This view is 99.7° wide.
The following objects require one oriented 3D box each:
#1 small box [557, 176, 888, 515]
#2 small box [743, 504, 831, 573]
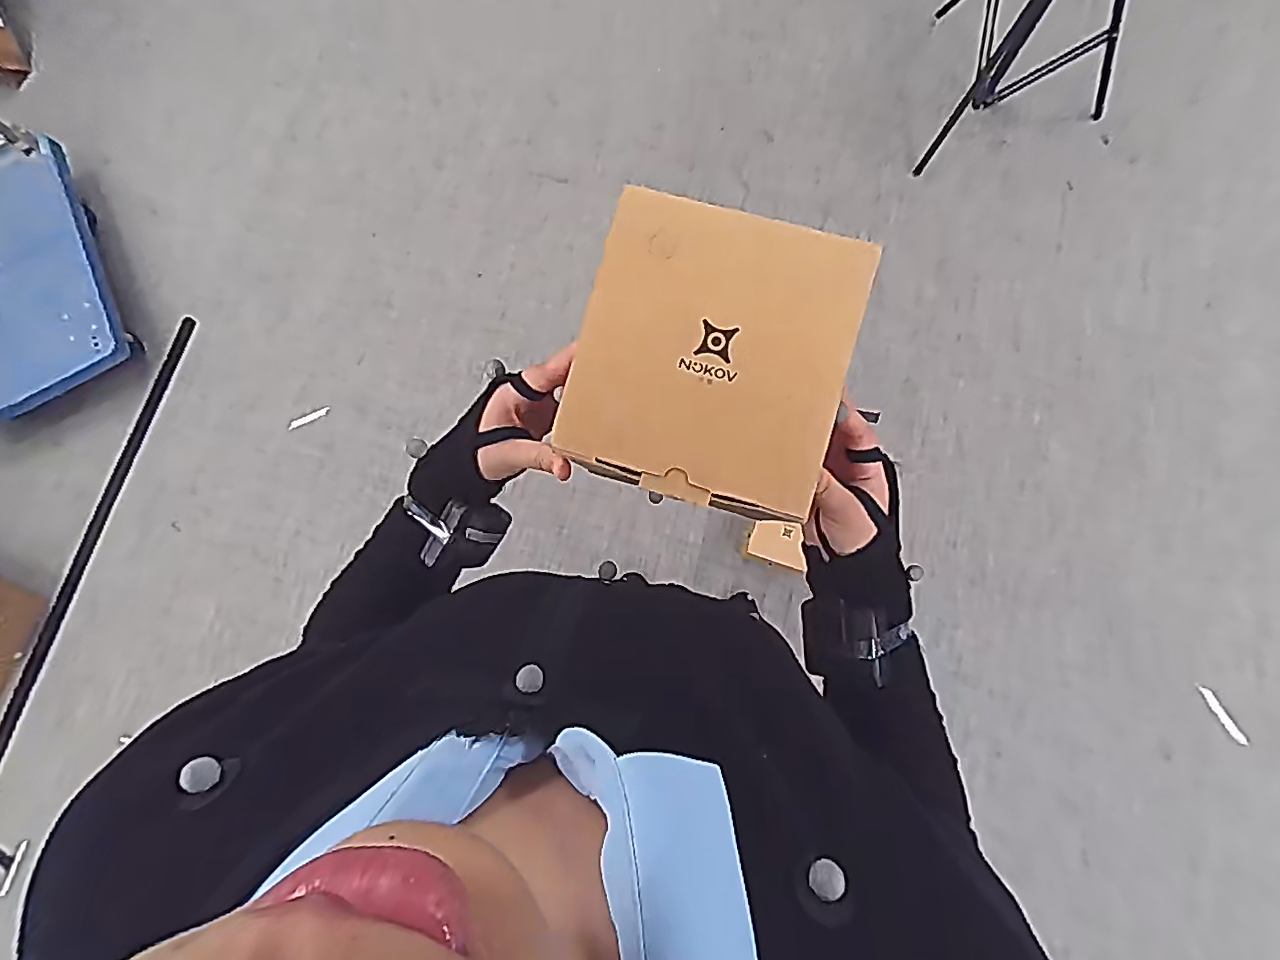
[{"bbox_3d":[0.053,-0.079,0.404,0.168,0.176,0.179,15,88,4],"label":"small box"},{"bbox_3d":[0.376,0.136,1.417,0.168,0.176,0.179,18,81,7],"label":"small box"}]
